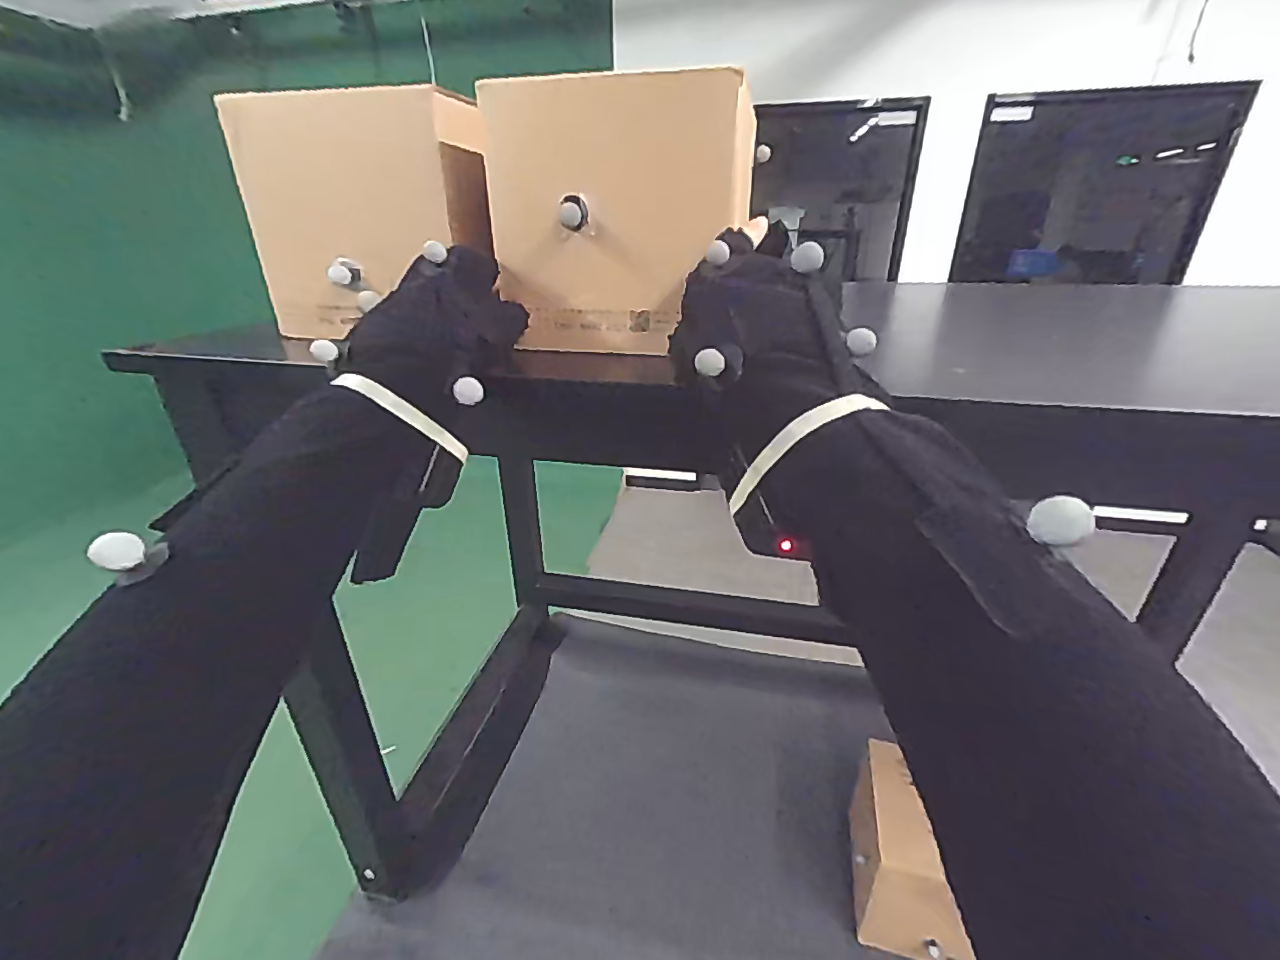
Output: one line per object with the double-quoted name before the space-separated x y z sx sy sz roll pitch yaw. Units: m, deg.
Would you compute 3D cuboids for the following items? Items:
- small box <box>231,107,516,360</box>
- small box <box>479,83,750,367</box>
"small box" -0.196 -0.212 0.476 0.168 0.176 0.179 4 27 11
"small box" -0.003 -0.191 0.433 0.168 0.176 0.179 5 25 12
